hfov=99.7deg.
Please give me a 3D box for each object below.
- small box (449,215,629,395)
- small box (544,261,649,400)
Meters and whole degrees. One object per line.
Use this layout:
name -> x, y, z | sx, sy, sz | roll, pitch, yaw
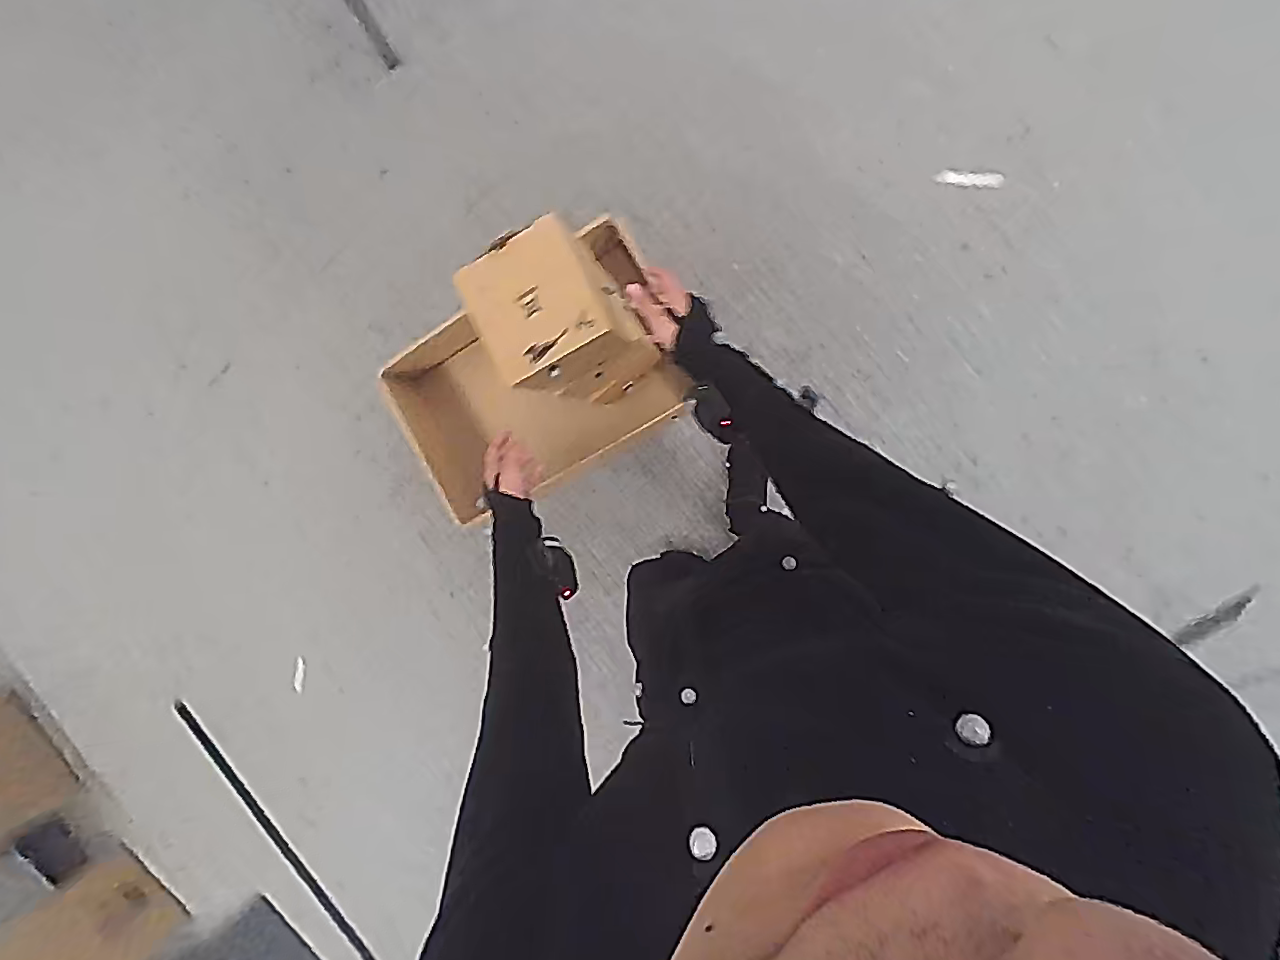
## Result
small box -> -0.136, -0.239, 0.790 | 0.168, 0.176, 0.179 | -27, 90, 13
small box -> -0.105, -0.252, 0.951 | 0.179, 0.176, 0.168 | -33, 89, 12
